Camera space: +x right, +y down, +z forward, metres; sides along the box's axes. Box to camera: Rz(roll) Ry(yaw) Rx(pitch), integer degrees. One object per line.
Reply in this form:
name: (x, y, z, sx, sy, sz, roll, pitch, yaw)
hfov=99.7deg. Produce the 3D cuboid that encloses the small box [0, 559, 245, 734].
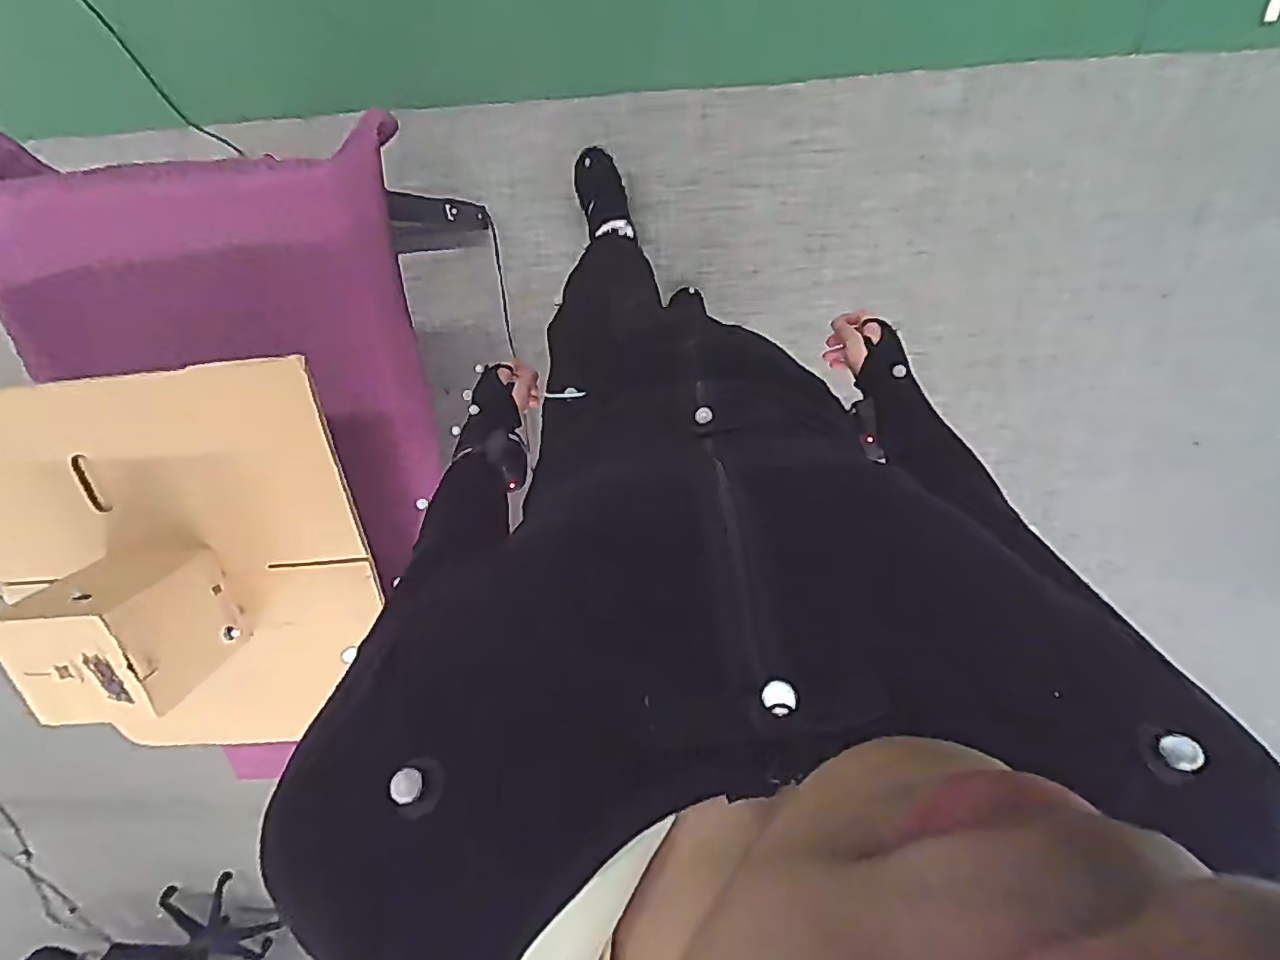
small box: (-0.696, 0.221, 0.749, 0.179, 0.176, 0.168, -5, 111, 6)
